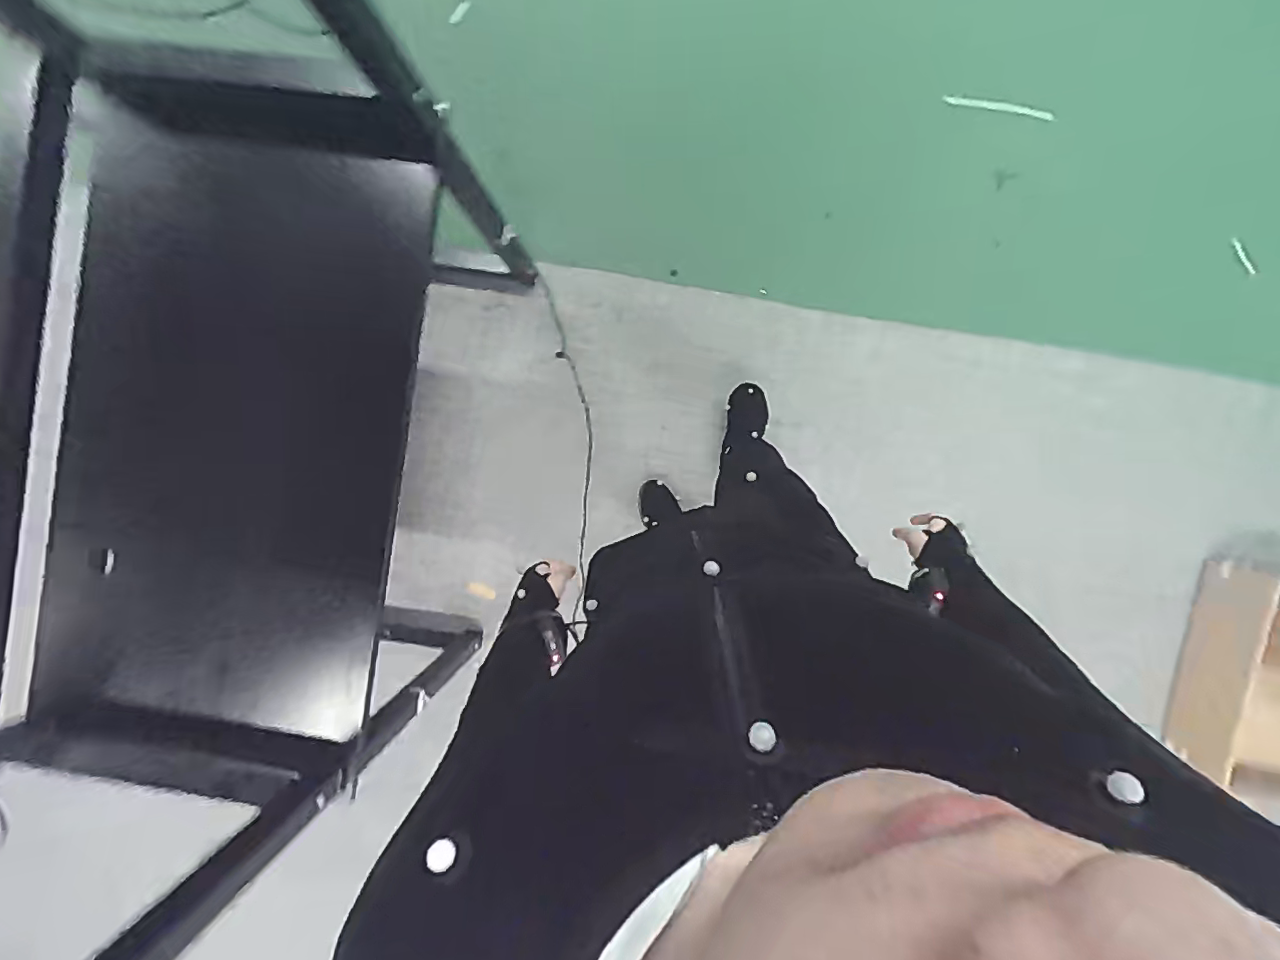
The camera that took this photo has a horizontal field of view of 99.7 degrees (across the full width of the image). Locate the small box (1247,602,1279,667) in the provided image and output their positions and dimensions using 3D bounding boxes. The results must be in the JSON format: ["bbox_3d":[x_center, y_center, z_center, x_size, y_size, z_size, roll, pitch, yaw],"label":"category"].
[{"bbox_3d":[1.799,0.435,1.438,0.179,0.176,0.168,10,93,2],"label":"small box"}]
